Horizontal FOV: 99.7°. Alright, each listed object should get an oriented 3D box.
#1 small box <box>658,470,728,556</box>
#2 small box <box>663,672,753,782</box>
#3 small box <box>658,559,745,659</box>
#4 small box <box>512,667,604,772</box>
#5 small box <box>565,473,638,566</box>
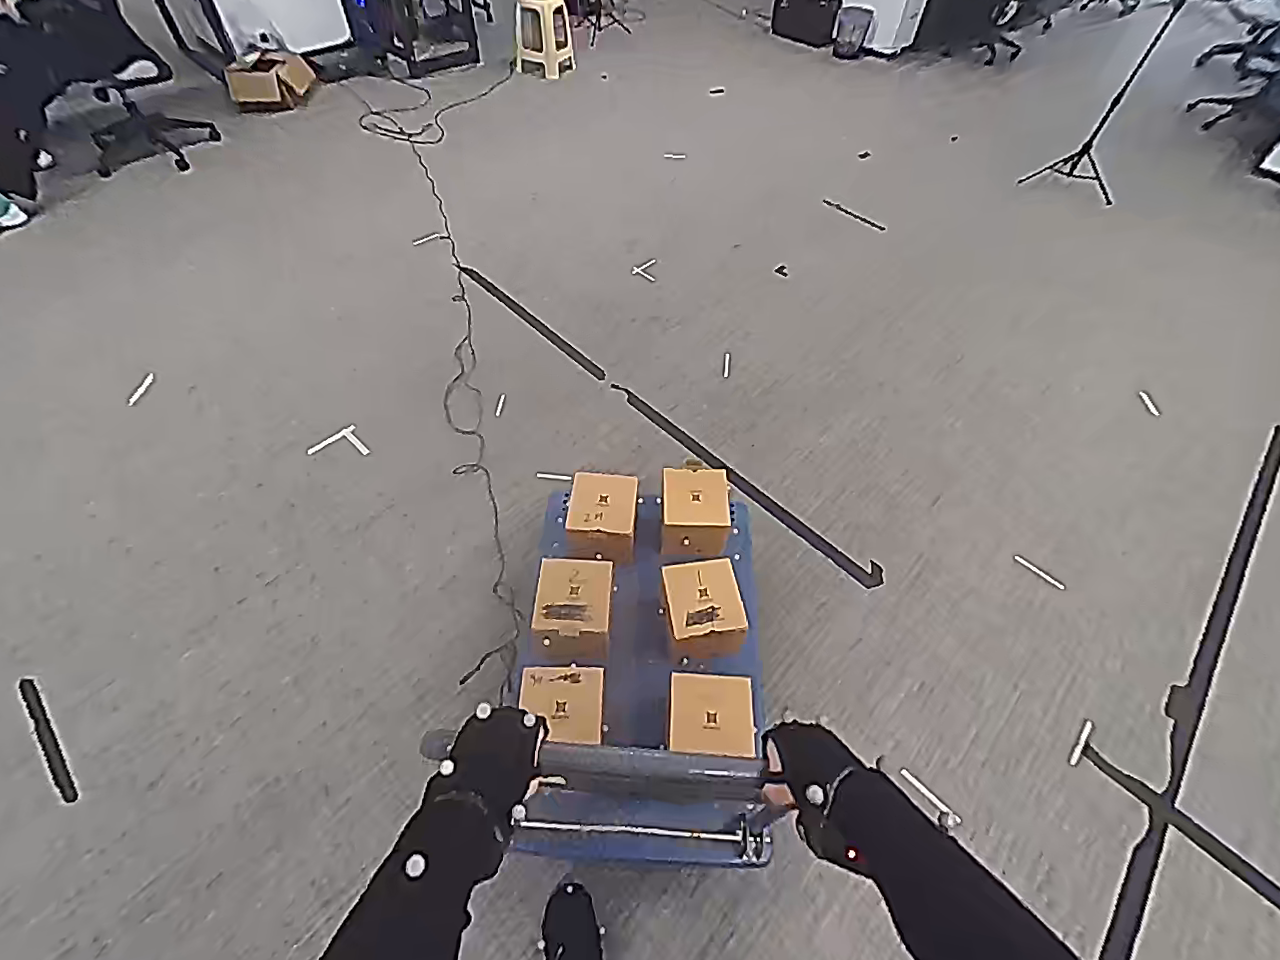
[{"bbox_3d":[0.136,0.091,1.442,0.168,0.176,0.179,1,54,-1],"label":"small box"},{"bbox_3d":[0.137,0.520,1.129,0.168,0.176,0.179,5,53,0],"label":"small box"},{"bbox_3d":[0.138,0.311,1.280,0.168,0.176,0.179,-6,54,-7],"label":"small box"},{"bbox_3d":[-0.161,0.503,1.126,0.168,0.176,0.179,2,54,-3],"label":"small box"},{"bbox_3d":[-0.098,0.105,1.420,0.168,0.176,0.179,5,55,2],"label":"small box"}]
